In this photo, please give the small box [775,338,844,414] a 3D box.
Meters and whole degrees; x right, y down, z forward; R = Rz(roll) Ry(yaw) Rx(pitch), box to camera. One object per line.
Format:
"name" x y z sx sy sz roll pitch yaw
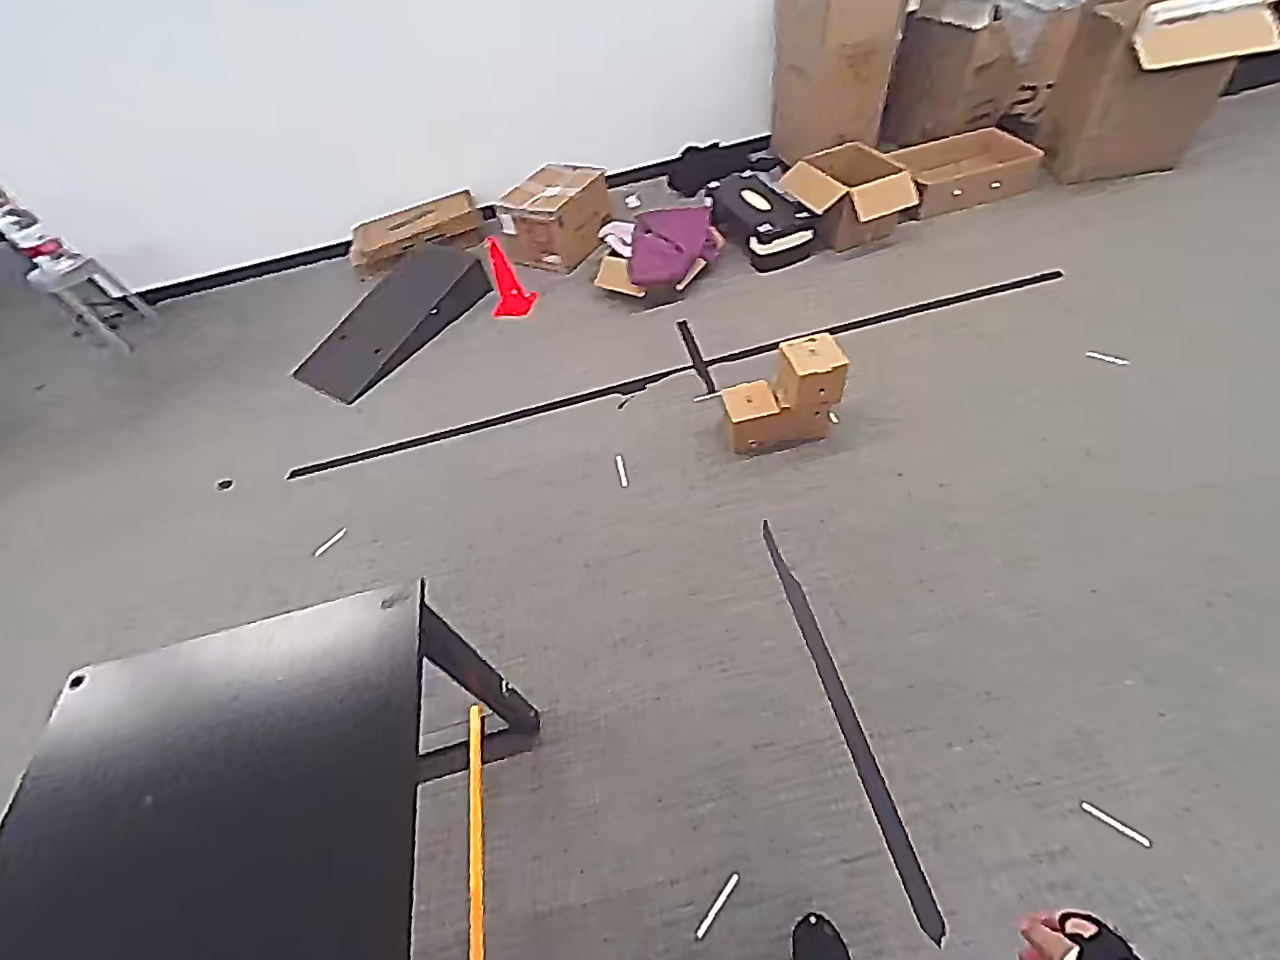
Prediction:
"small box" 0.558 -0.339 1.799 0.168 0.176 0.179 -14 51 -1
